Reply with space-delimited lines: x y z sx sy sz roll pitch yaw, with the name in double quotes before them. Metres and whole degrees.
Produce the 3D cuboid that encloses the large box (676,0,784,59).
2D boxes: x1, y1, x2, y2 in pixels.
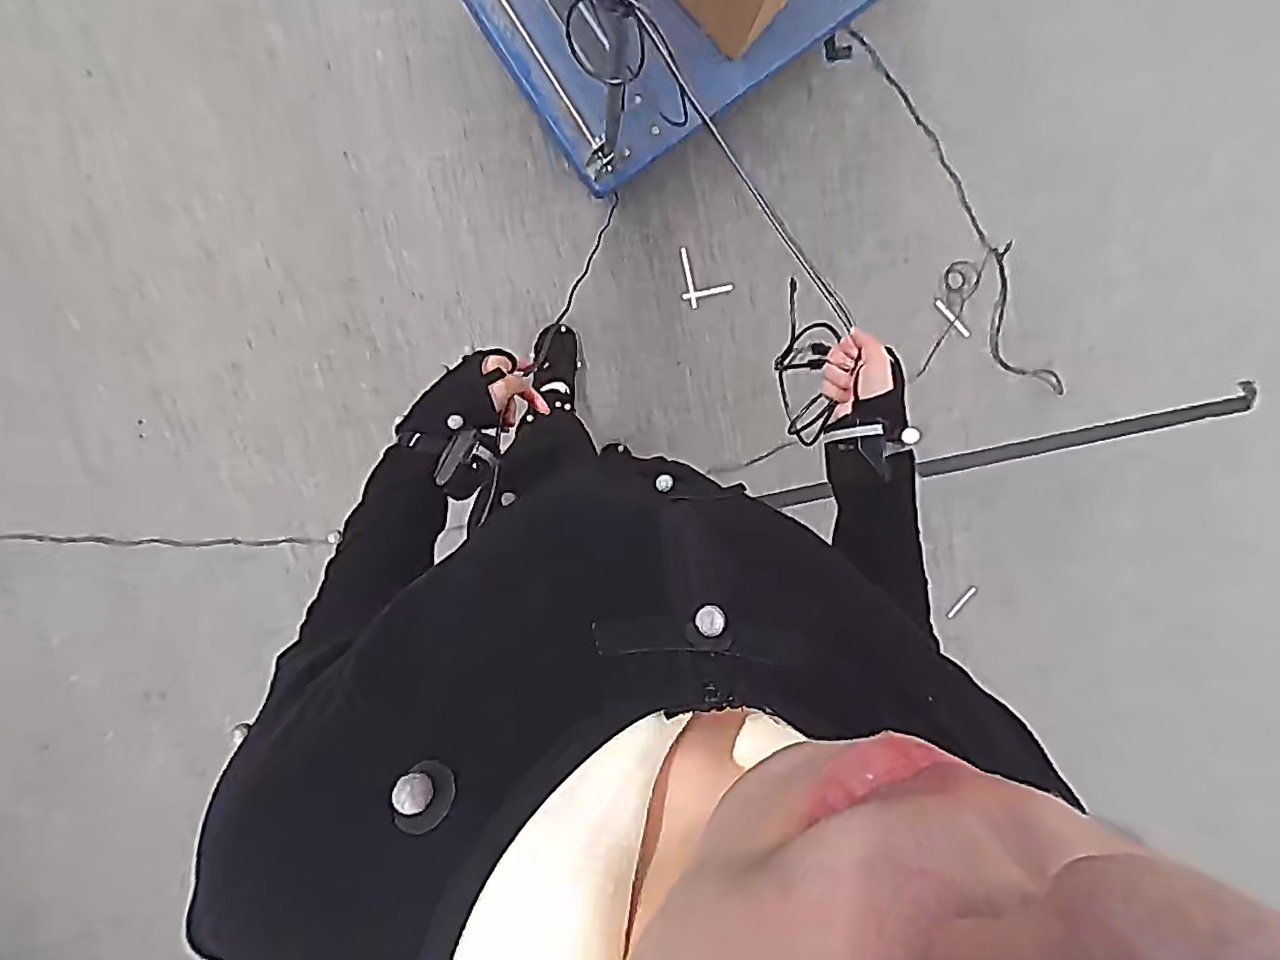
"large box" 0.165 -1.110 0.972 0.408 0.320 0.320 39 96 -12
